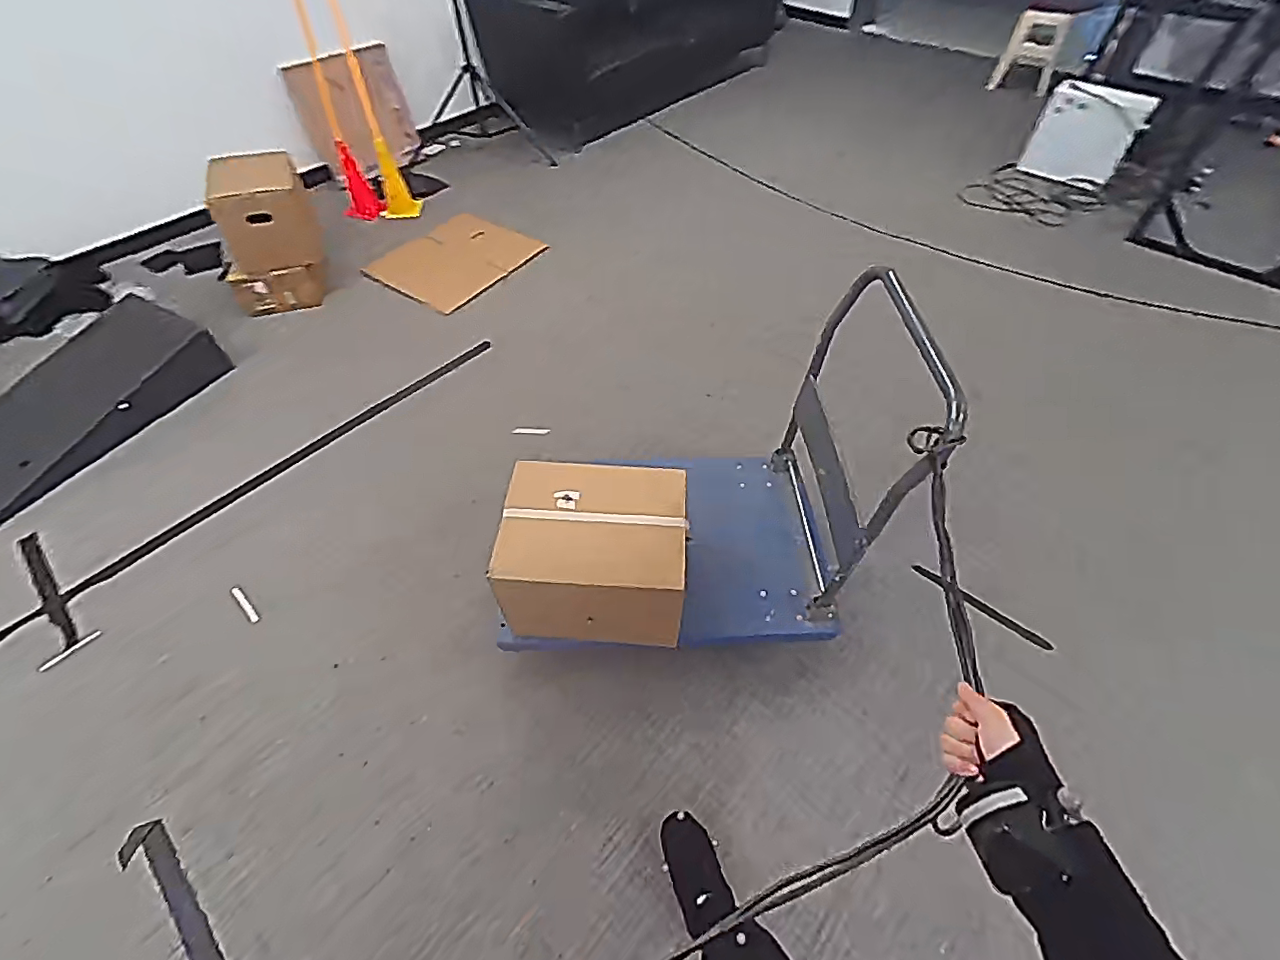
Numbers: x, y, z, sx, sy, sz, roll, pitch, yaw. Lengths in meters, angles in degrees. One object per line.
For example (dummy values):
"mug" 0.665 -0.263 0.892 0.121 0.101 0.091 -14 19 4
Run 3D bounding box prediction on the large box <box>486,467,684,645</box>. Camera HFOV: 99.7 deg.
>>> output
"large box" -0.102 0.187 1.287 0.408 0.320 0.320 2 52 3
